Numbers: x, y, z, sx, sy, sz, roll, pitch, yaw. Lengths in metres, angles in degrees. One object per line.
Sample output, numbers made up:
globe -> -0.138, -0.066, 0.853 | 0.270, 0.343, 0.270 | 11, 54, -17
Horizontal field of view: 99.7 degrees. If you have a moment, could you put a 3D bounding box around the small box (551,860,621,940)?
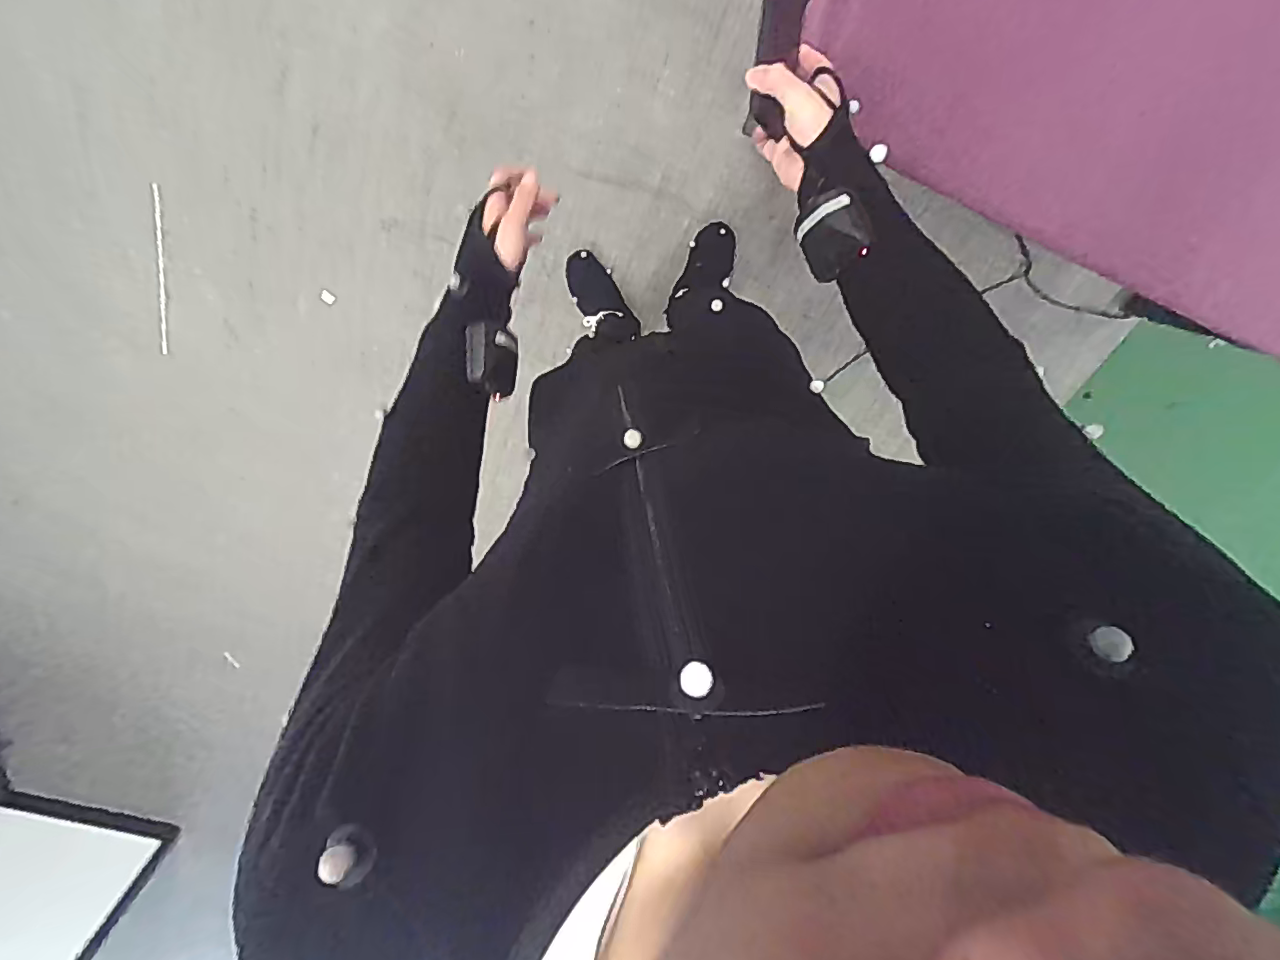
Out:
small box -> -0.169, 1.385, 1.761 | 0.168, 0.176, 0.179 | 24, 117, -12

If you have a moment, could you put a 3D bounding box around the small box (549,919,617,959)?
small box -> -0.176, 1.463, 1.619 | 0.168, 0.176, 0.179 | 25, 117, -12
